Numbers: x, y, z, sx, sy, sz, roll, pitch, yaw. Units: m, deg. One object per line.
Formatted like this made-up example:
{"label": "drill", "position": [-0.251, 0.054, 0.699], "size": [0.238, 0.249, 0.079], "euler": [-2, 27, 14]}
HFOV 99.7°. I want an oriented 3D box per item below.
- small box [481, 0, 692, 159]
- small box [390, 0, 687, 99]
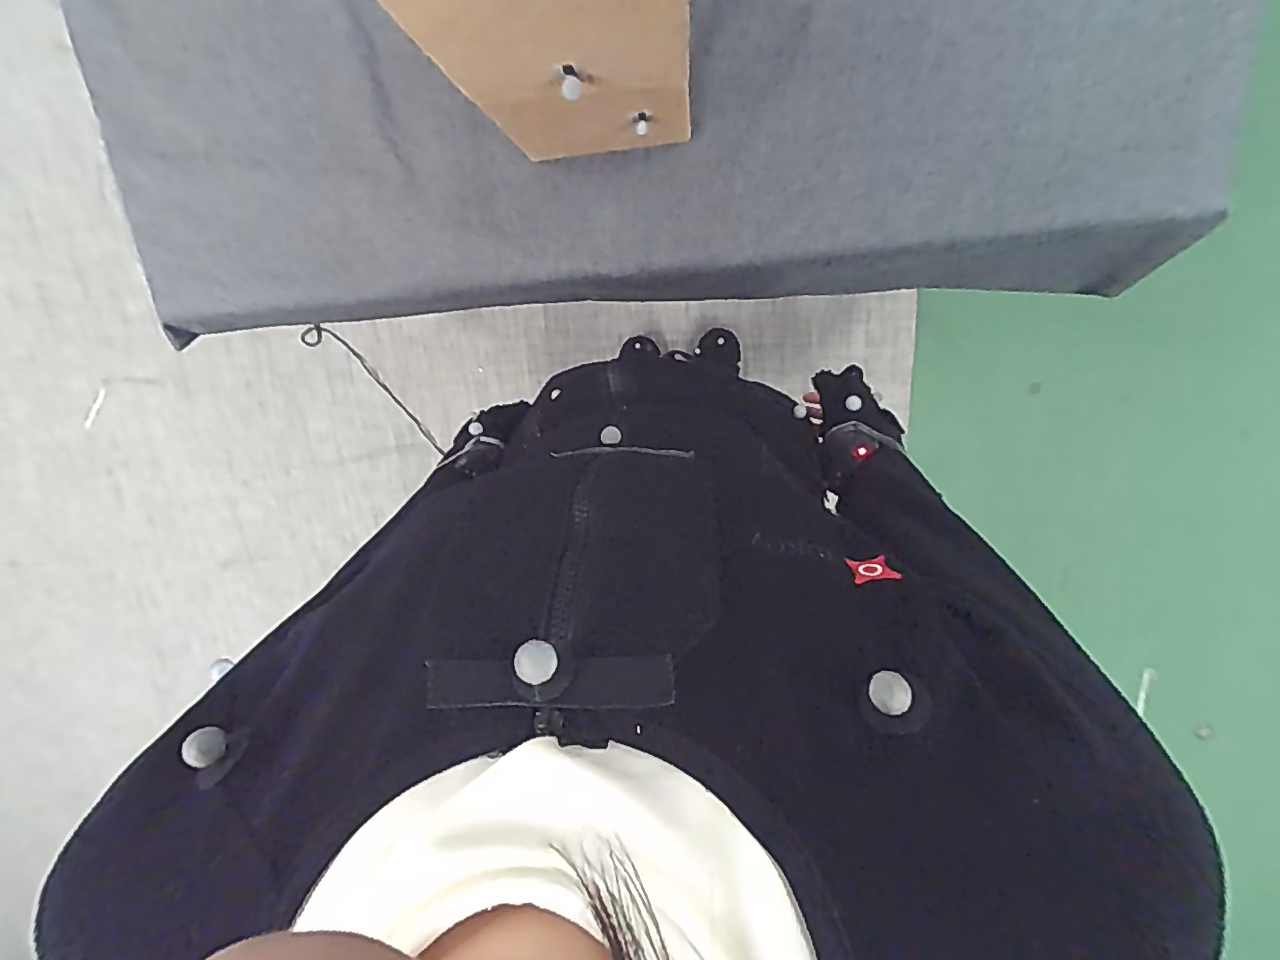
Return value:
{"label": "small box", "position": [-0.045, -0.417, 0.494], "size": [0.179, 0.176, 0.168], "euler": [-4, 104, 8]}
{"label": "small box", "position": [-0.058, -0.370, 0.338], "size": [0.179, 0.176, 0.168], "euler": [-2, 105, 5]}
